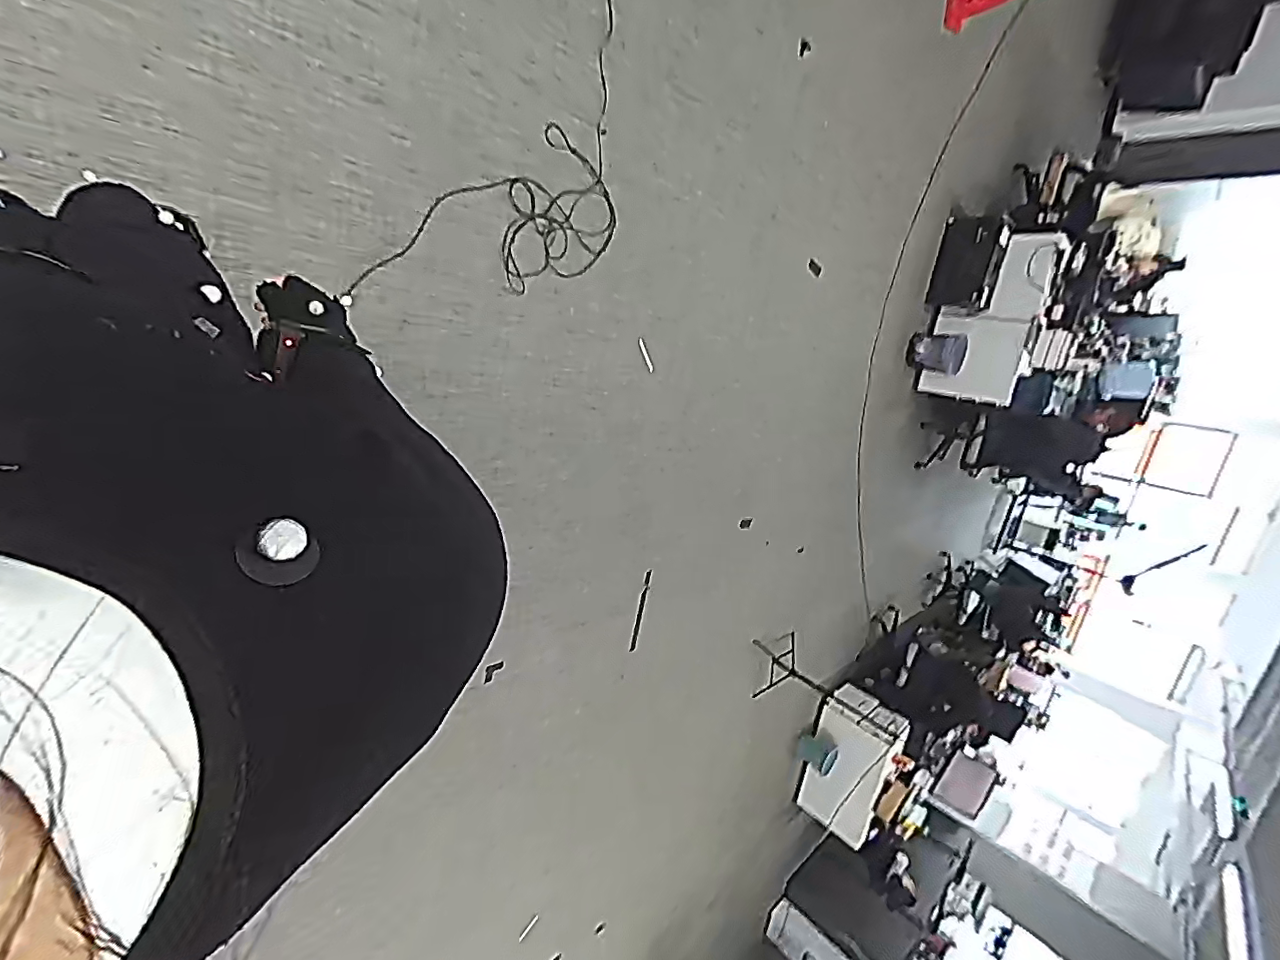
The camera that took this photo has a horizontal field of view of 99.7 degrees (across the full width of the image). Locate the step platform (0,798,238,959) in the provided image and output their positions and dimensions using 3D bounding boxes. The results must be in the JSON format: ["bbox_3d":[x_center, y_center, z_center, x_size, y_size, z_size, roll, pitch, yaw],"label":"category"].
[{"bbox_3d":[-1.288,1.000,1.162,0.684,0.204,0.286,-5,110,-43],"label":"step platform"}]
